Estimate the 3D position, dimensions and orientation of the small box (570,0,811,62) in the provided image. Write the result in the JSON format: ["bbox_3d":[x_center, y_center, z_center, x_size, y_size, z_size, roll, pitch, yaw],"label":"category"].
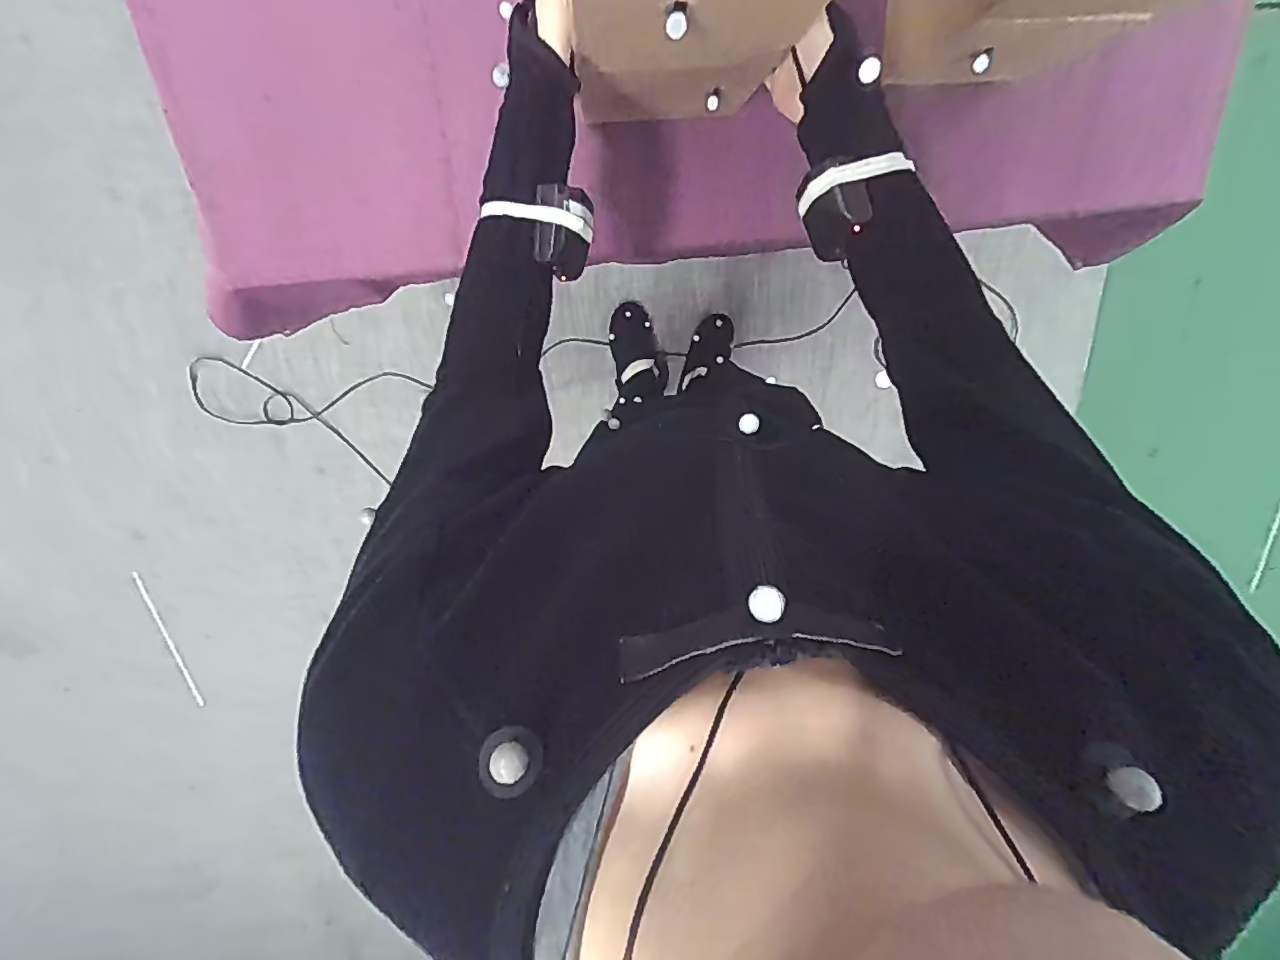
[{"bbox_3d":[0.035,-0.397,0.347,0.179,0.176,0.168,-5,110,-4],"label":"small box"}]

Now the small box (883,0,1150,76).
[{"bbox_3d":[0.355,-0.511,0.515,0.168,0.176,0.179,-4,110,-3],"label":"small box"}]

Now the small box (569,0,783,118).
[{"bbox_3d":[0.023,-0.456,0.500,0.179,0.176,0.168,-5,110,-4],"label":"small box"}]
